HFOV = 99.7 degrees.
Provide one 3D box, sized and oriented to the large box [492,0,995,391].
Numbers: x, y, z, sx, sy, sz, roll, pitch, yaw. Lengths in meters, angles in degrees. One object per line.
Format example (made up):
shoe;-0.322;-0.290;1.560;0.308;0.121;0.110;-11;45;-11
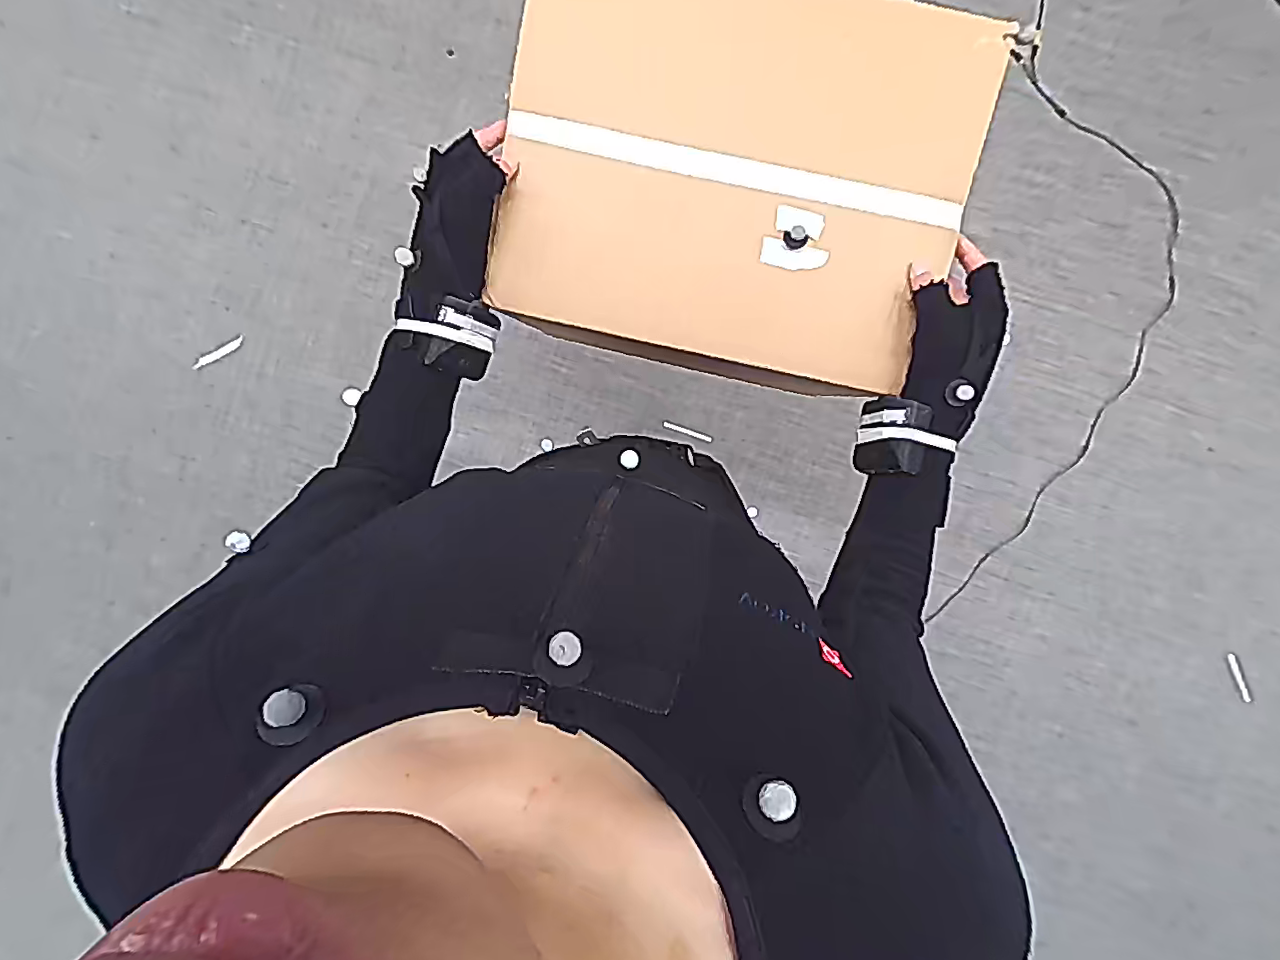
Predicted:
large box;0.086;-0.297;0.633;0.408;0.320;0.320;13;100;1
